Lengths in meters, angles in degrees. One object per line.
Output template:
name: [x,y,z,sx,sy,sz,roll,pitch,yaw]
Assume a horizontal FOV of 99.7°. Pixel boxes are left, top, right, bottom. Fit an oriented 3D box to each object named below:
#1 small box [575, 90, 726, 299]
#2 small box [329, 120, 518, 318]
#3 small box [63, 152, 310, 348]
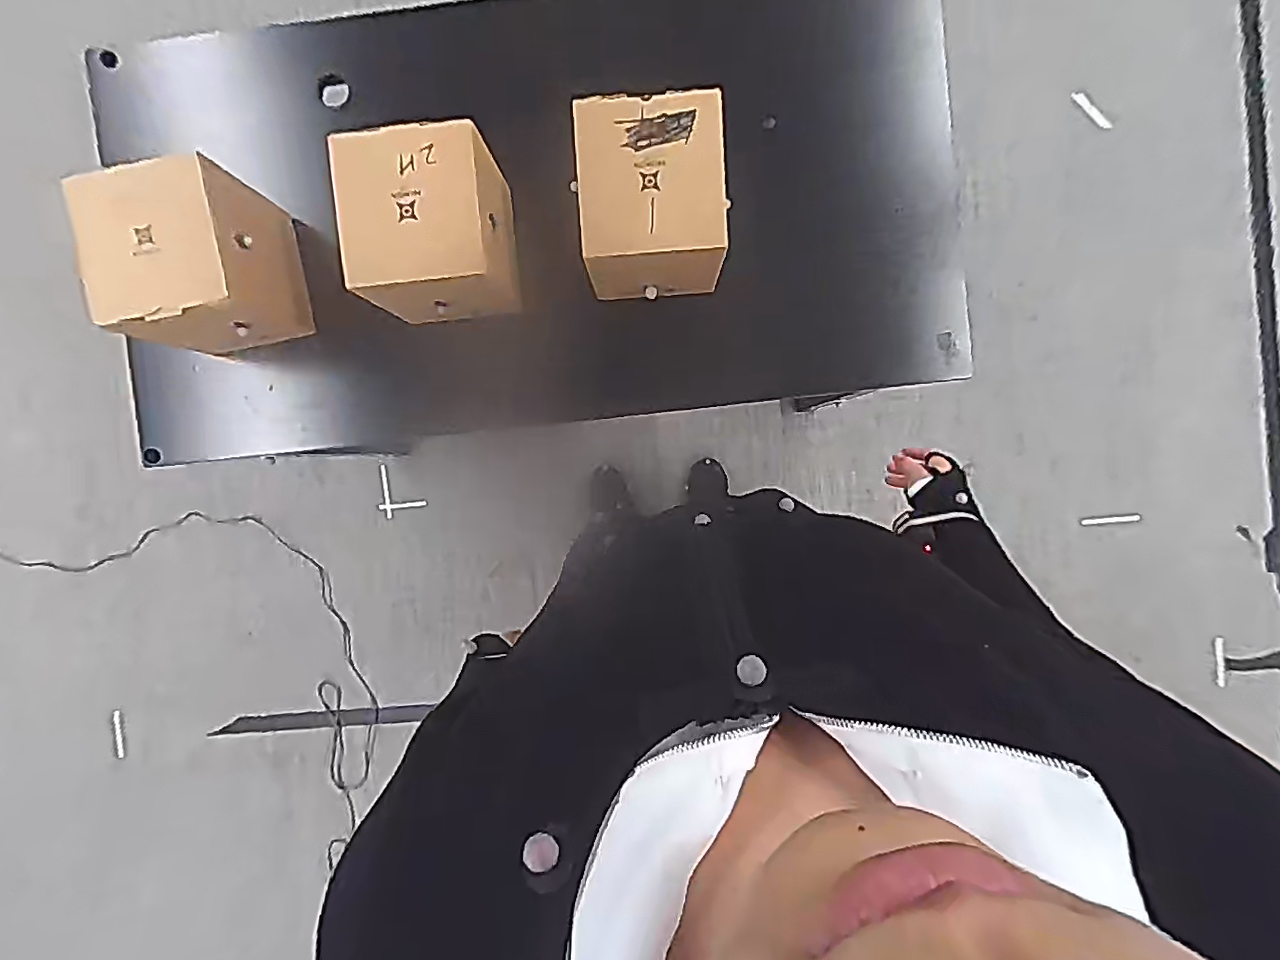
small box: [0.013,-0.344,0.681,0.168,0.176,0.179,-3,93,2]
small box: [-0.260,-0.313,0.689,0.168,0.176,0.179,-5,92,1]
small box: [-0.565,-0.278,0.701,0.168,0.176,0.179,-11,91,1]
